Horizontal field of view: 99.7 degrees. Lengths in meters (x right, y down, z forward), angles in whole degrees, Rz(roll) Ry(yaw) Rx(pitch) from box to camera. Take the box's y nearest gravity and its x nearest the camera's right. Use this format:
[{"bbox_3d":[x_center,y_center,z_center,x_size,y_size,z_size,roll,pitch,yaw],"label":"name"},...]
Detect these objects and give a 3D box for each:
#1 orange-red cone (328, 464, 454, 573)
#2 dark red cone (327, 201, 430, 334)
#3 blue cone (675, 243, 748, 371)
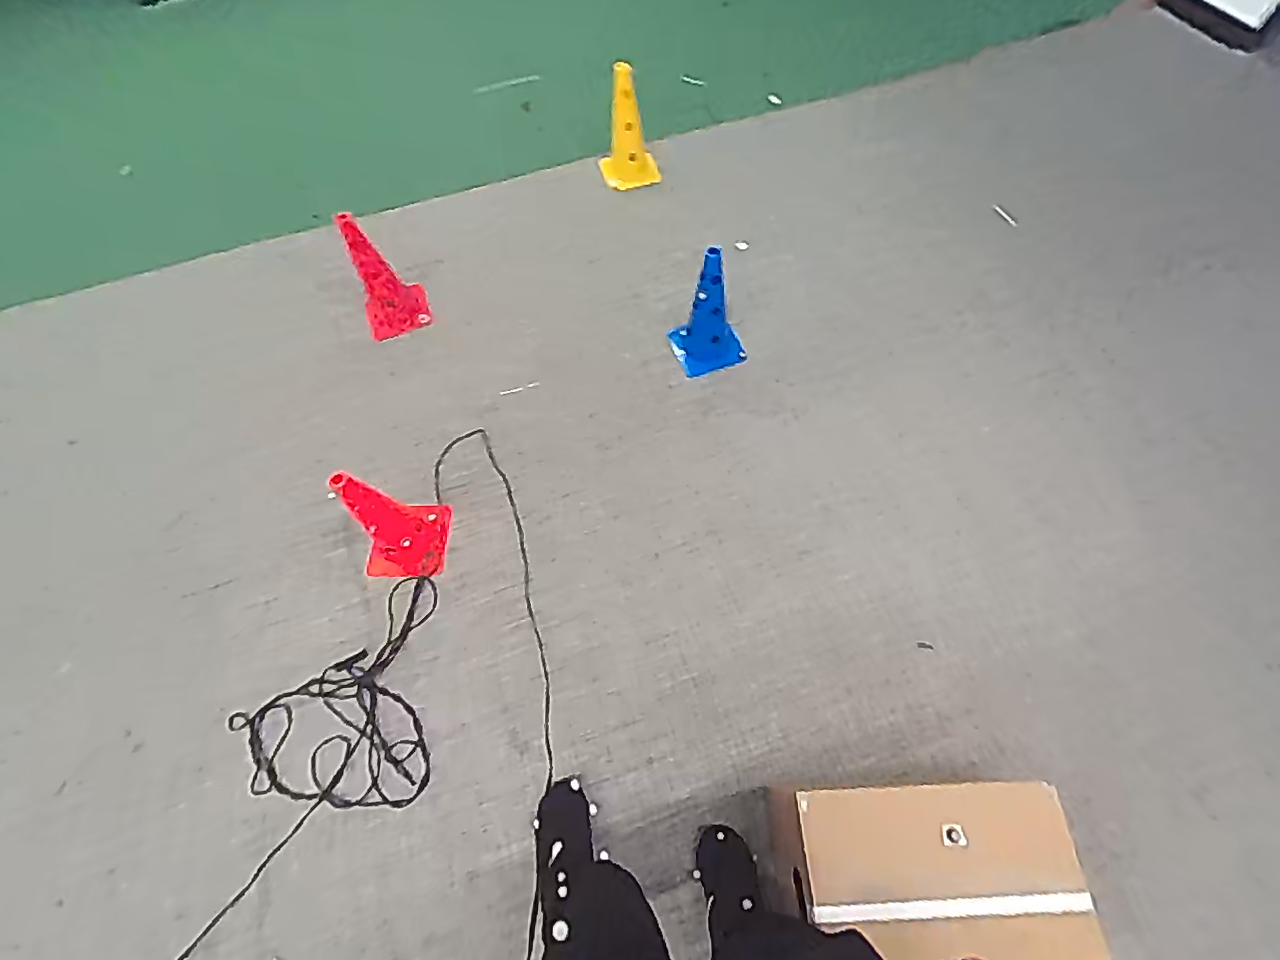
[{"bbox_3d":[-0.615,0.068,1.271,0.199,0.360,0.198,0,61,6],"label":"orange-red cone"},{"bbox_3d":[-0.815,-0.655,1.640,0.202,0.394,0.201,-24,60,-8],"label":"dark red cone"},{"bbox_3d":[0.205,-0.498,1.524,0.192,0.380,0.193,-17,63,-5],"label":"blue cone"}]
